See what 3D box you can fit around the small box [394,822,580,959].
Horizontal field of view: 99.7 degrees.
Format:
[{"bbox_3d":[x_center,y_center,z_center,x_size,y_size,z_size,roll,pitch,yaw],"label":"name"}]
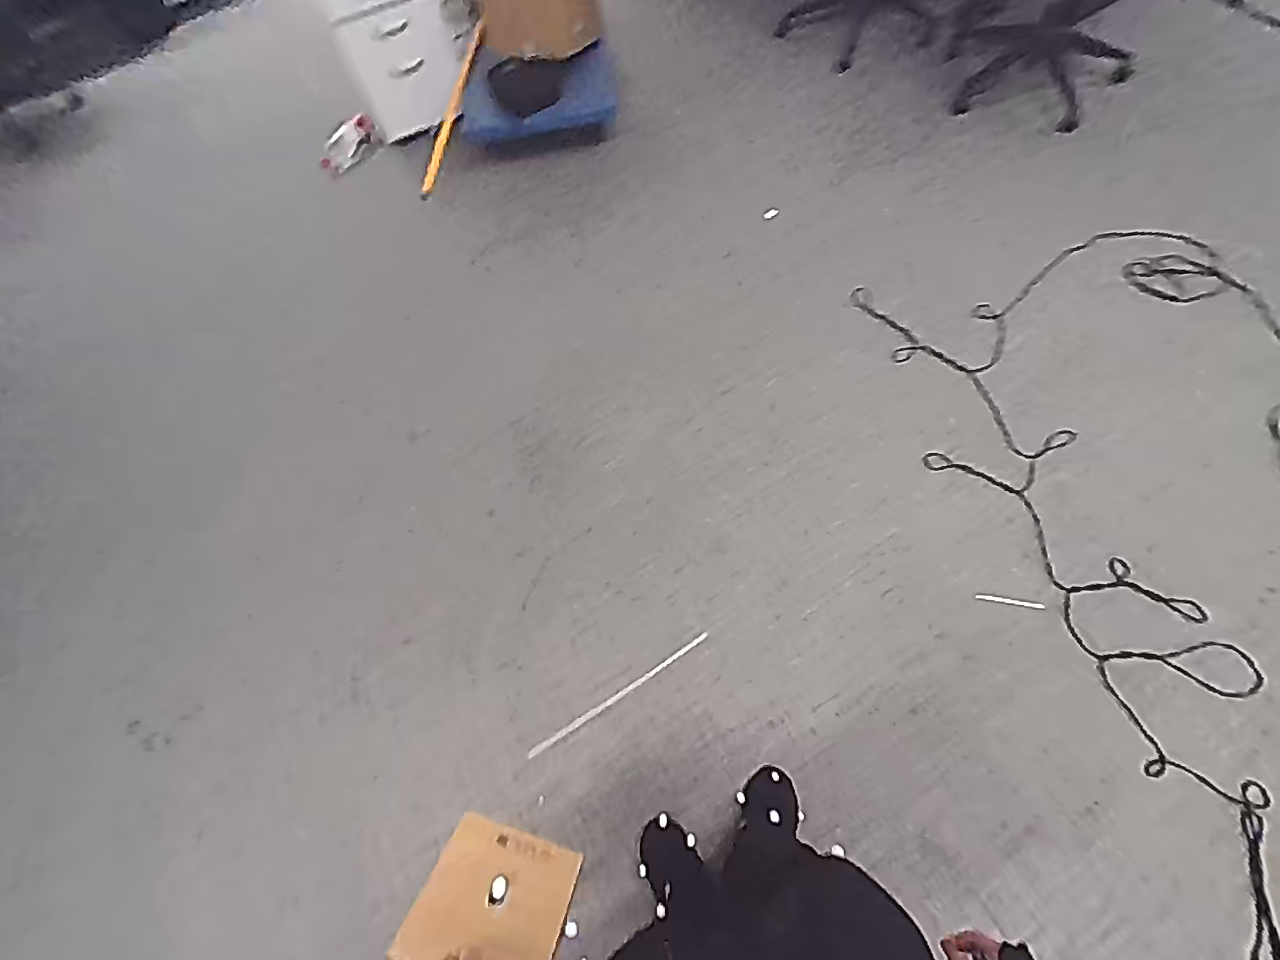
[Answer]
[{"bbox_3d":[-0.181,0.559,0.649,0.168,0.179,0.176,16,22,6],"label":"small box"}]
